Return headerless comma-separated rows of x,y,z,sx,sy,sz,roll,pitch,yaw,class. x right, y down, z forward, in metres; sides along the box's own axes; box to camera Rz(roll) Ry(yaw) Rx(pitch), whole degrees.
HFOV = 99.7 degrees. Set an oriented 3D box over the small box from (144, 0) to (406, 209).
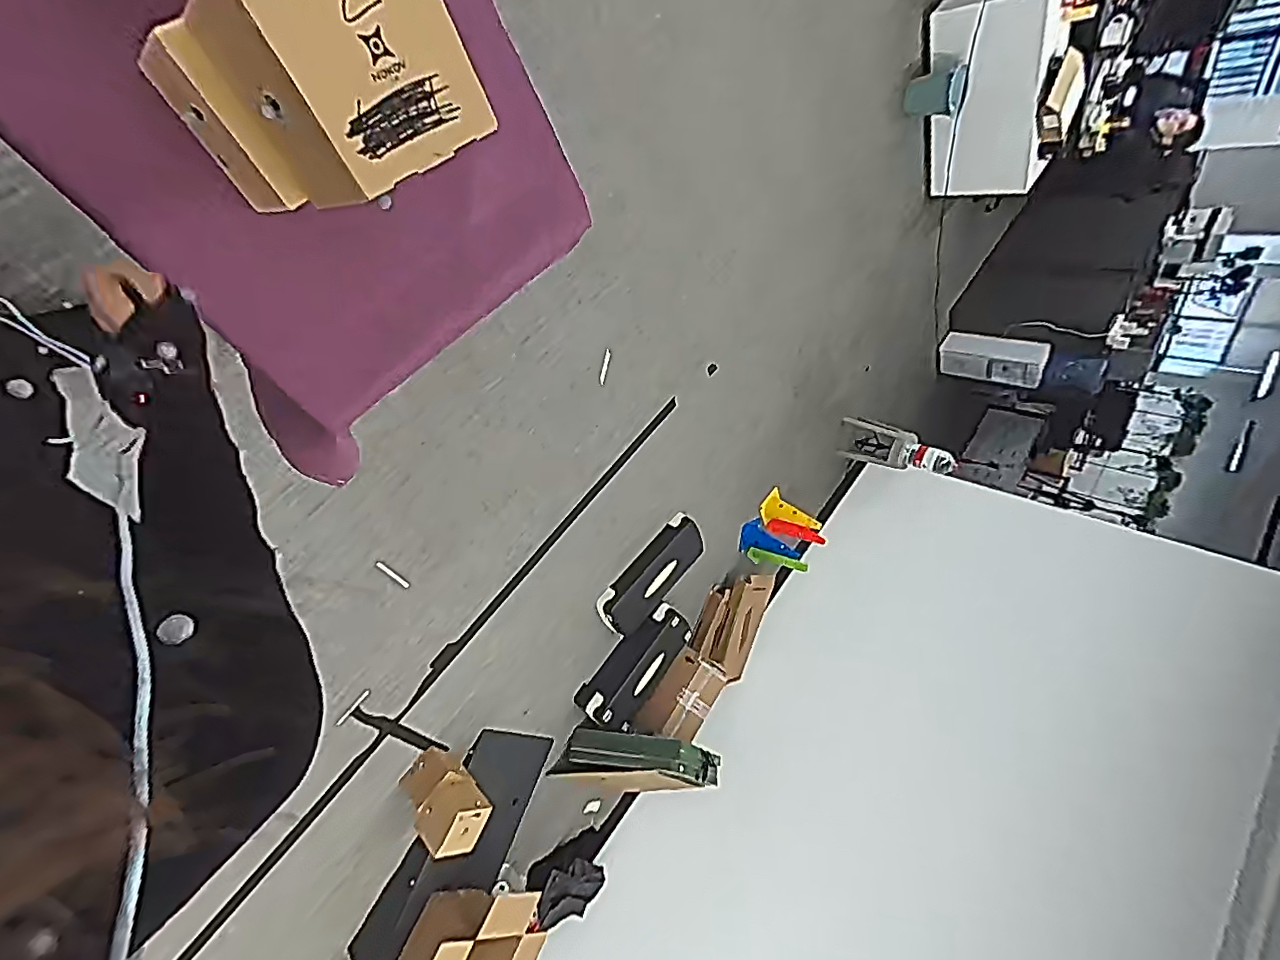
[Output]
-0.418,-0.433,0.624,0.179,0.176,0.168,-48,136,-21,small box
